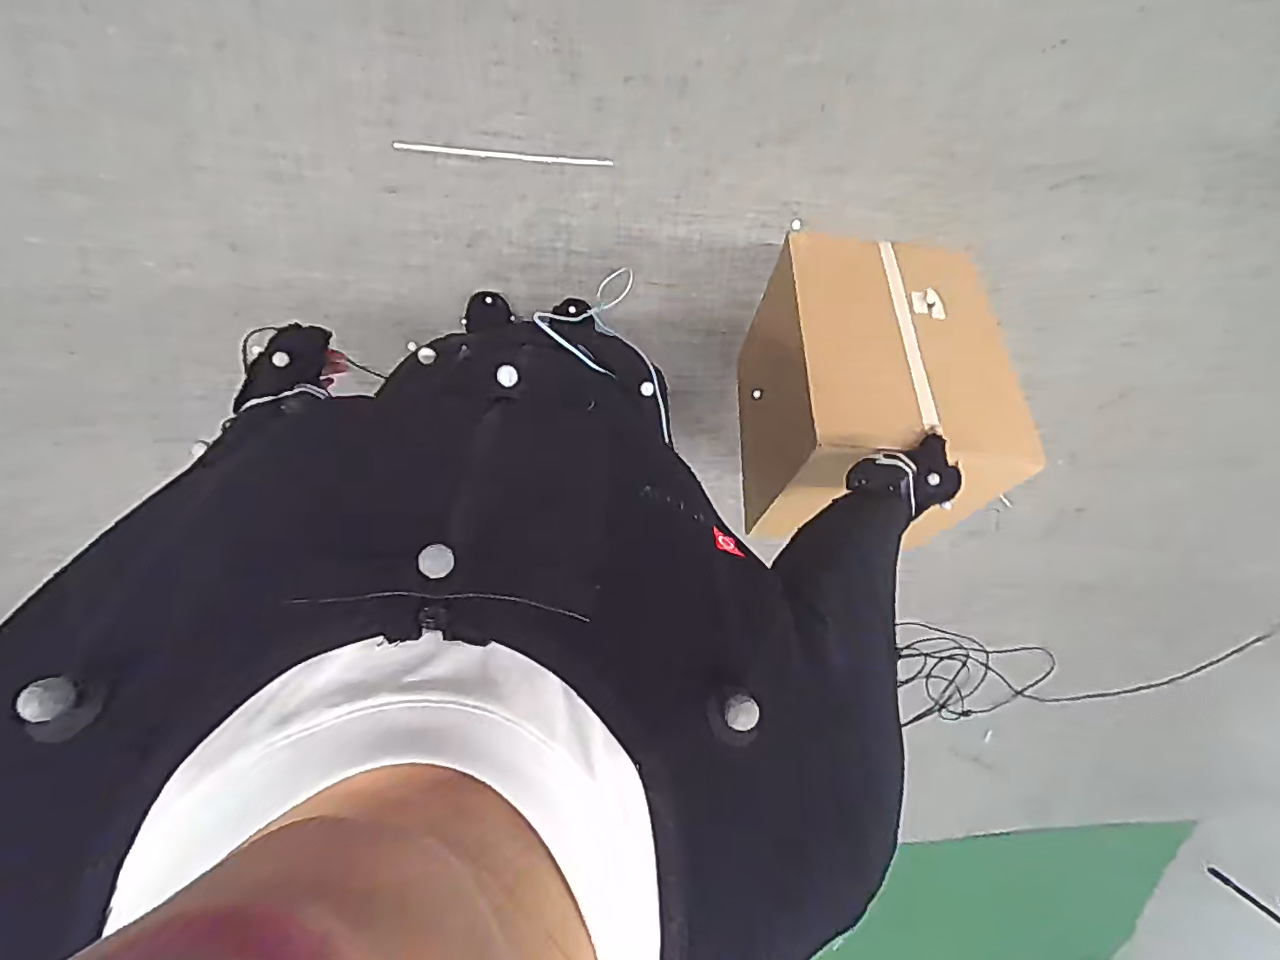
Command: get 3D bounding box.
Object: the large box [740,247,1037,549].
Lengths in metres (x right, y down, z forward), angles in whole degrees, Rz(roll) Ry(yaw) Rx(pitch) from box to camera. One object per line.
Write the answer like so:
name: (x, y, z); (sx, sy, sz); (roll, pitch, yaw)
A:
large box: (0.369, -0.123, 0.930); (0.320, 0.408, 0.320); (6, 151, -6)
